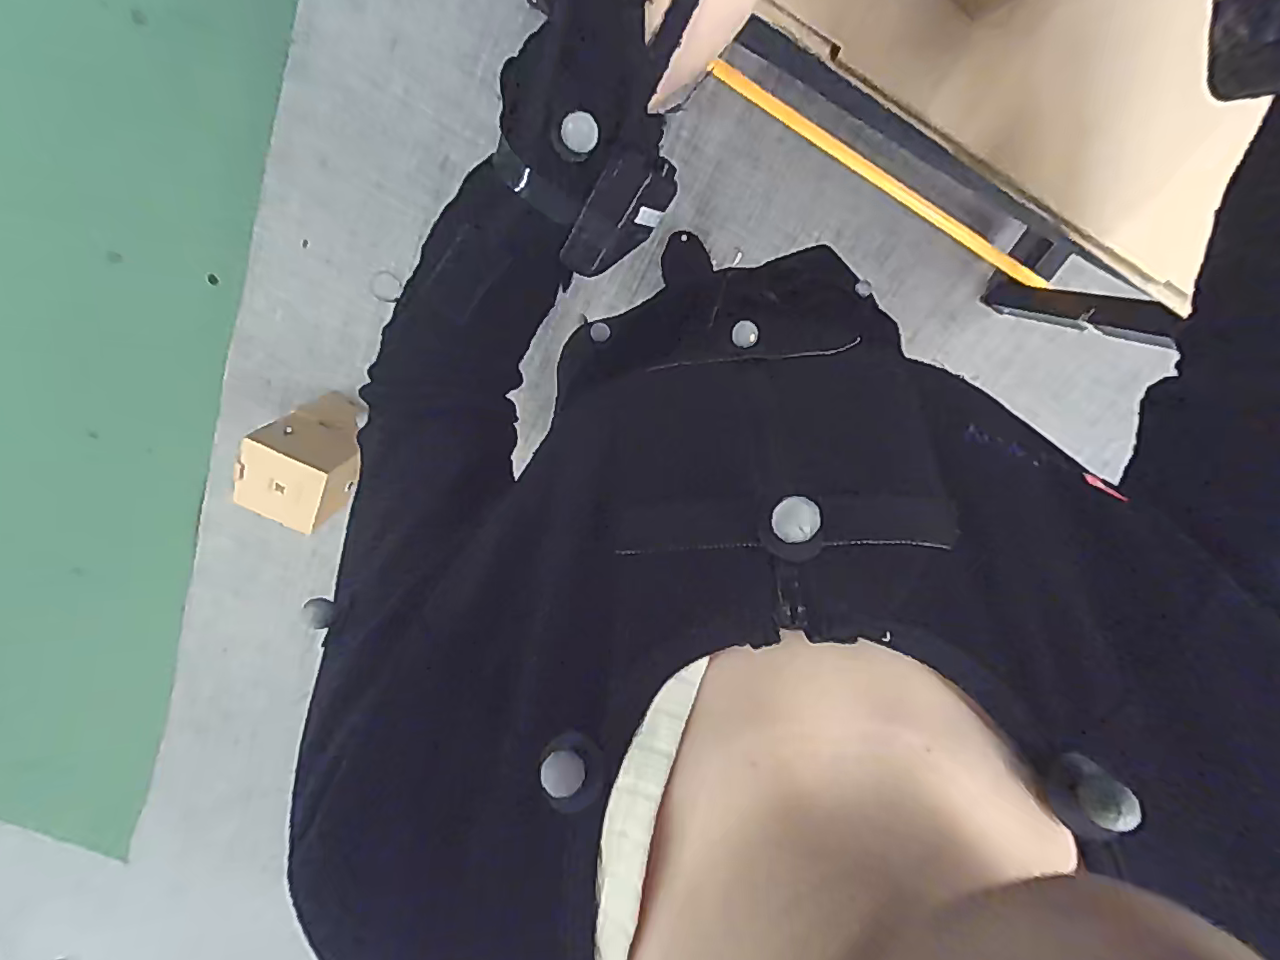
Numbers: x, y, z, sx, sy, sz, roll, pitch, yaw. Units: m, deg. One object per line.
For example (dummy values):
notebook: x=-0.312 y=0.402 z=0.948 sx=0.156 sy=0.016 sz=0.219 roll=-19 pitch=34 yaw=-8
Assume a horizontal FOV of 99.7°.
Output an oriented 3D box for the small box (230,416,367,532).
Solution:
small box: x=-0.737 y=-0.022 z=1.180 sx=0.179 sy=0.176 sz=0.168 roll=25 pitch=114 yaw=-9

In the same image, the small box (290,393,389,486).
small box: x=-0.746 y=-0.091 z=1.327 sx=0.168 sy=0.176 sz=0.179 roll=28 pitch=113 yaw=-10
